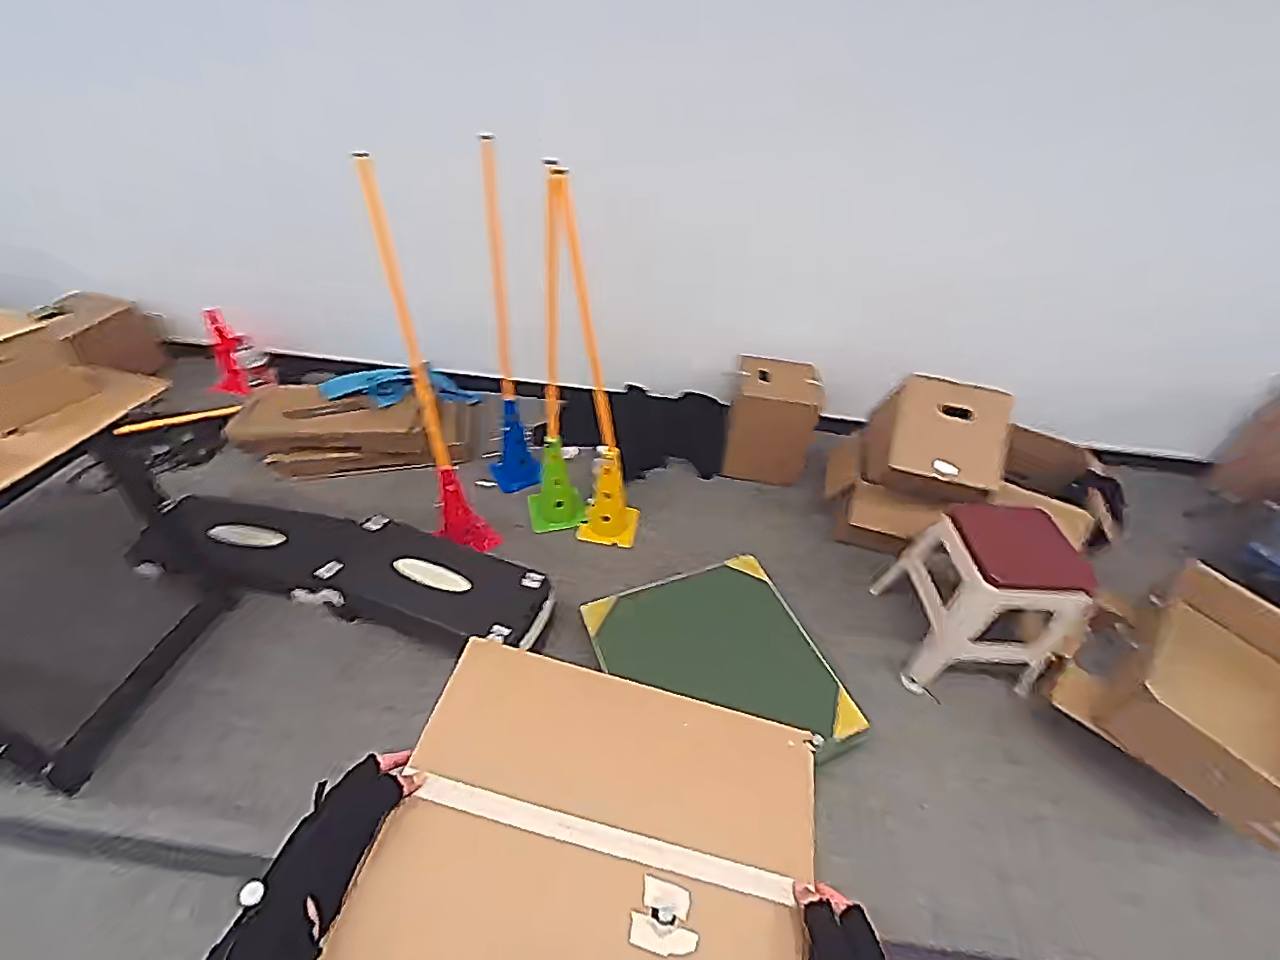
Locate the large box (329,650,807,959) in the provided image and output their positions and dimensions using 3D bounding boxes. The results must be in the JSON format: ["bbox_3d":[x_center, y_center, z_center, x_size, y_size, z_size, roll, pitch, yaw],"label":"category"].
[{"bbox_3d":[-0.058,0.454,0.624,0.408,0.320,0.320,16,45,3],"label":"large box"}]
